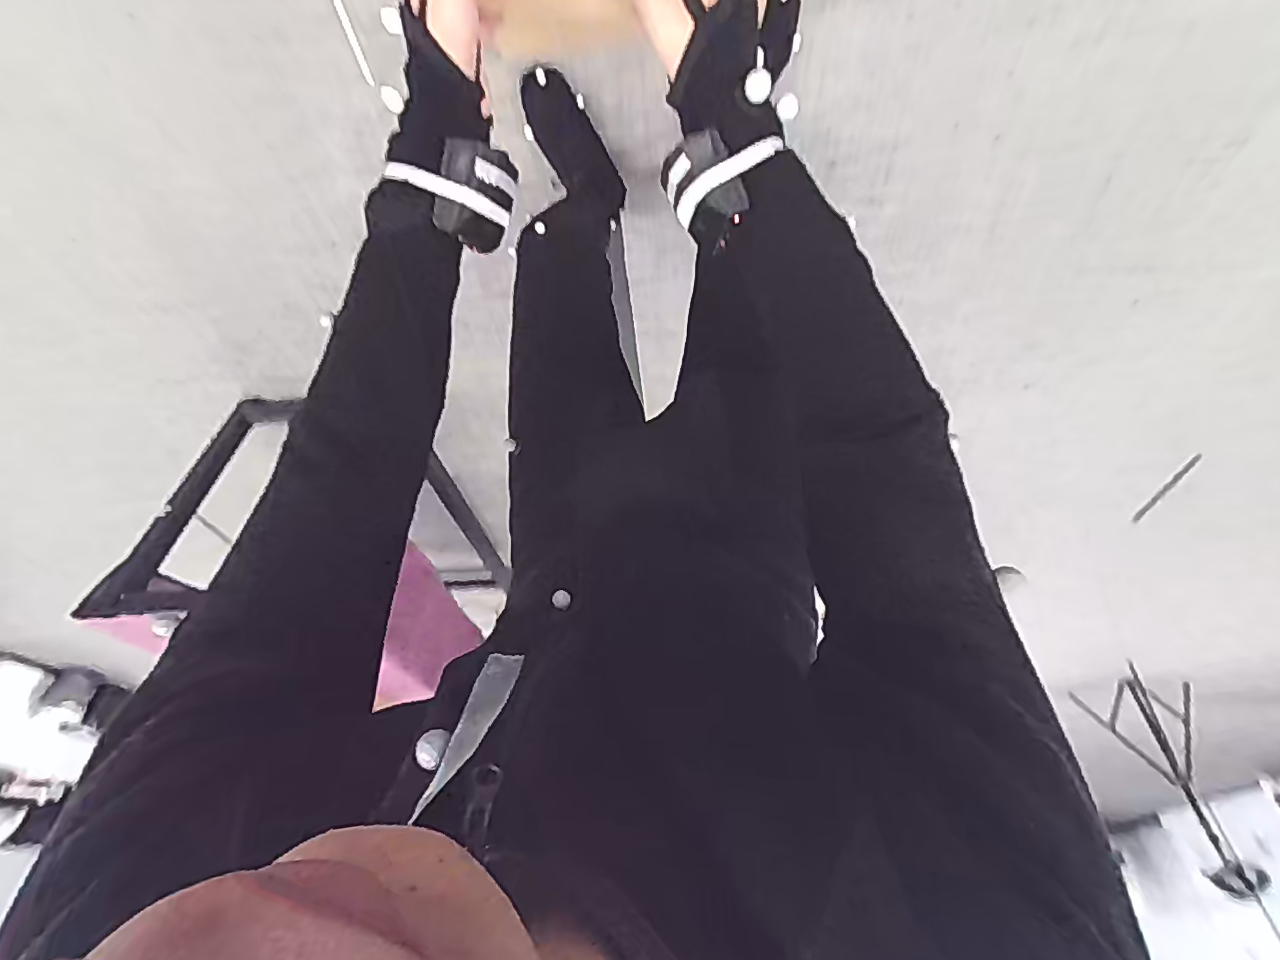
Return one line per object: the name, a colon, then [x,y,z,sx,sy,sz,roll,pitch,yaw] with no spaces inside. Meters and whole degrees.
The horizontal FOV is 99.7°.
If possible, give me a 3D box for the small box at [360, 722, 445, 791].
small box: [-0.782,0.920,1.798,0.179,0.176,0.168,-13,139,16]
